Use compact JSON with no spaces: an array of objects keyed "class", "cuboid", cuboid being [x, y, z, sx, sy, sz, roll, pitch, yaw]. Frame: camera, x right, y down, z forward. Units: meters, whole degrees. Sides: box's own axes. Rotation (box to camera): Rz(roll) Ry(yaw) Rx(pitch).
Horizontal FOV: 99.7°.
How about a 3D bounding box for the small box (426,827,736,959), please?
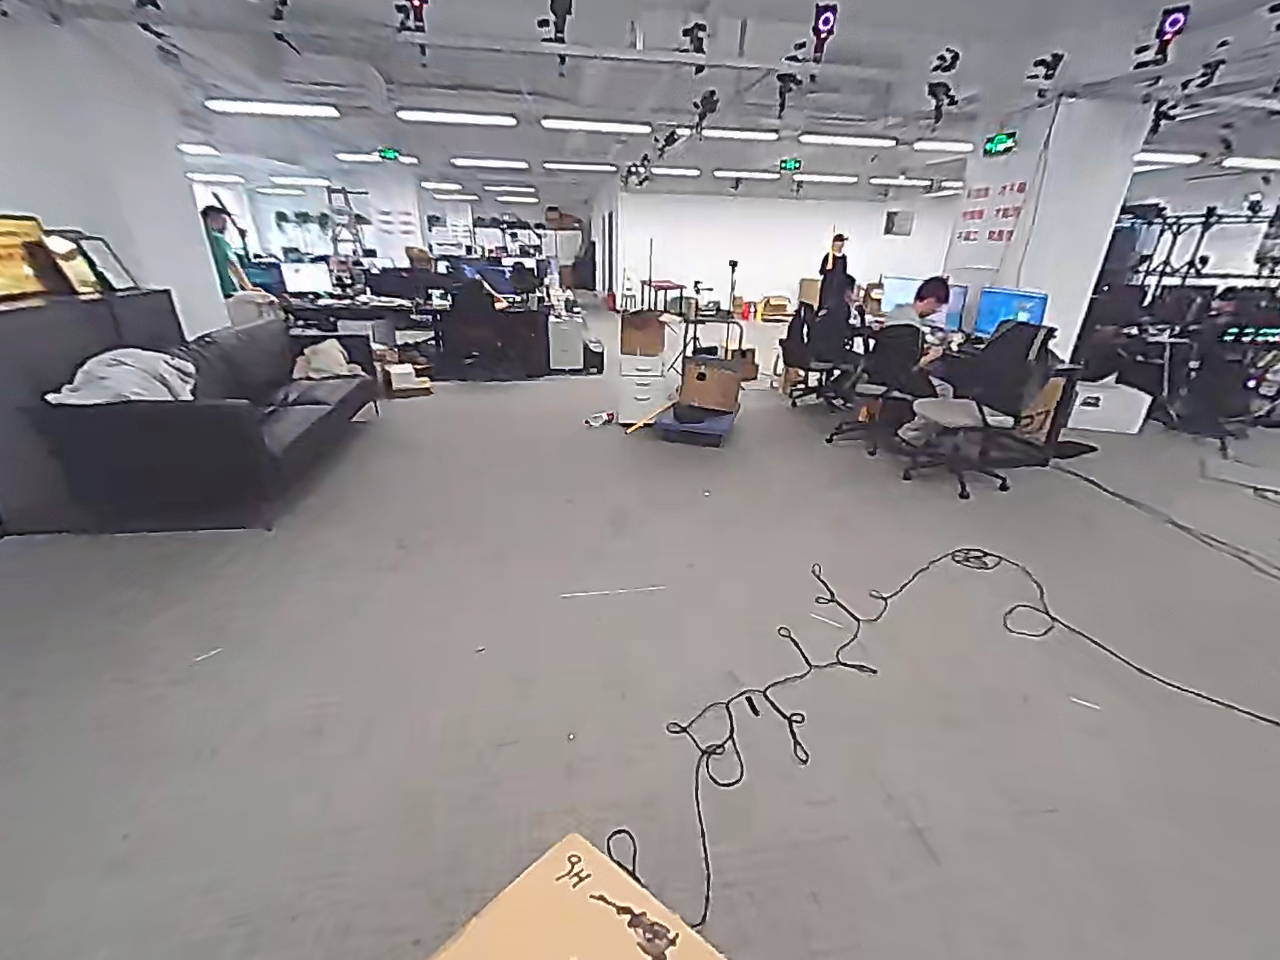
[{"class":"small box","cuboid":[-0.047,0.400,0.363,0.168,0.176,0.179,13,21,39]}]
